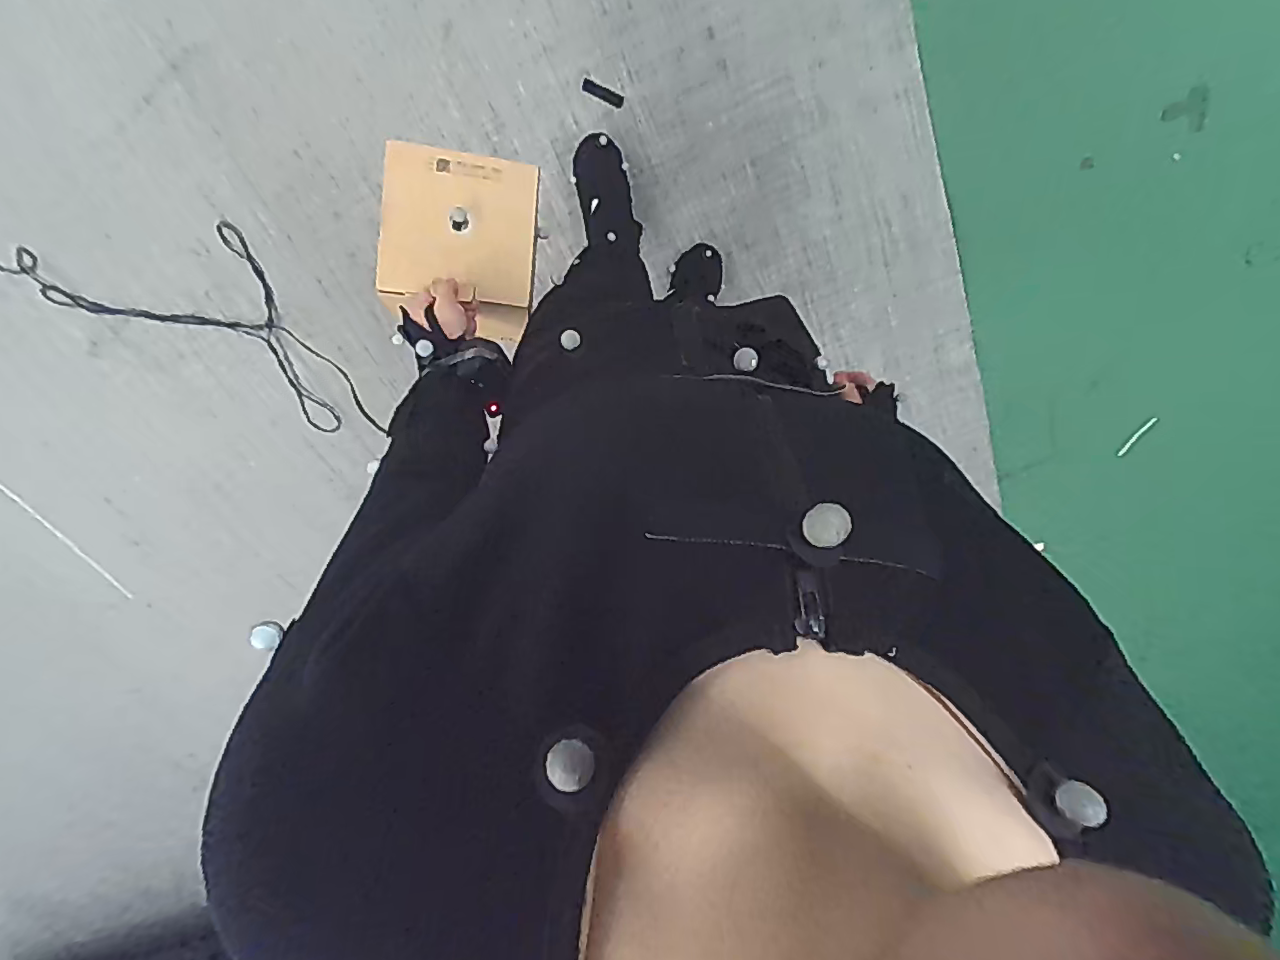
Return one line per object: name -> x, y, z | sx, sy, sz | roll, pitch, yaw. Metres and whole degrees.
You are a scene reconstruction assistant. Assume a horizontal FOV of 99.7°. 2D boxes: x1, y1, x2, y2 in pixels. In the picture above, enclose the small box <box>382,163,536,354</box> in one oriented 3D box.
small box -> -0.221, -0.271, 0.691 | 0.168, 0.179, 0.176 | 2, 88, -11
